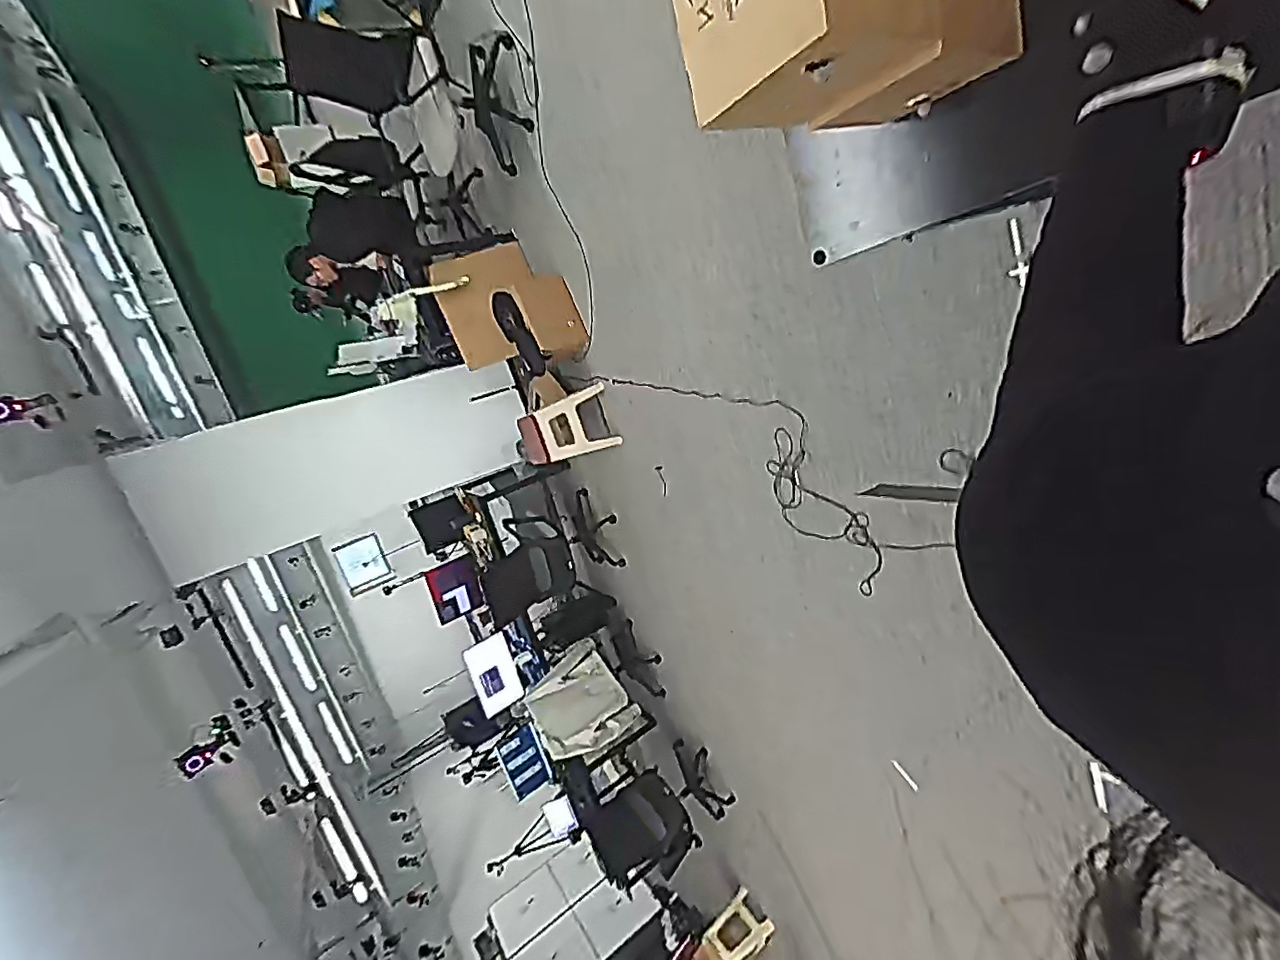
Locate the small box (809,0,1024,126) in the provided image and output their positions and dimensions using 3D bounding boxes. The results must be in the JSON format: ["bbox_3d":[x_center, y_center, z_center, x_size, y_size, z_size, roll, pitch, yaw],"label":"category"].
[{"bbox_3d":[0.293,-0.527,0.601,0.168,0.176,0.179,10,120,59],"label":"small box"}]

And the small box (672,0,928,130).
[{"bbox_3d":[0.155,-0.474,0.528,0.179,0.176,0.168,10,118,59],"label":"small box"}]
